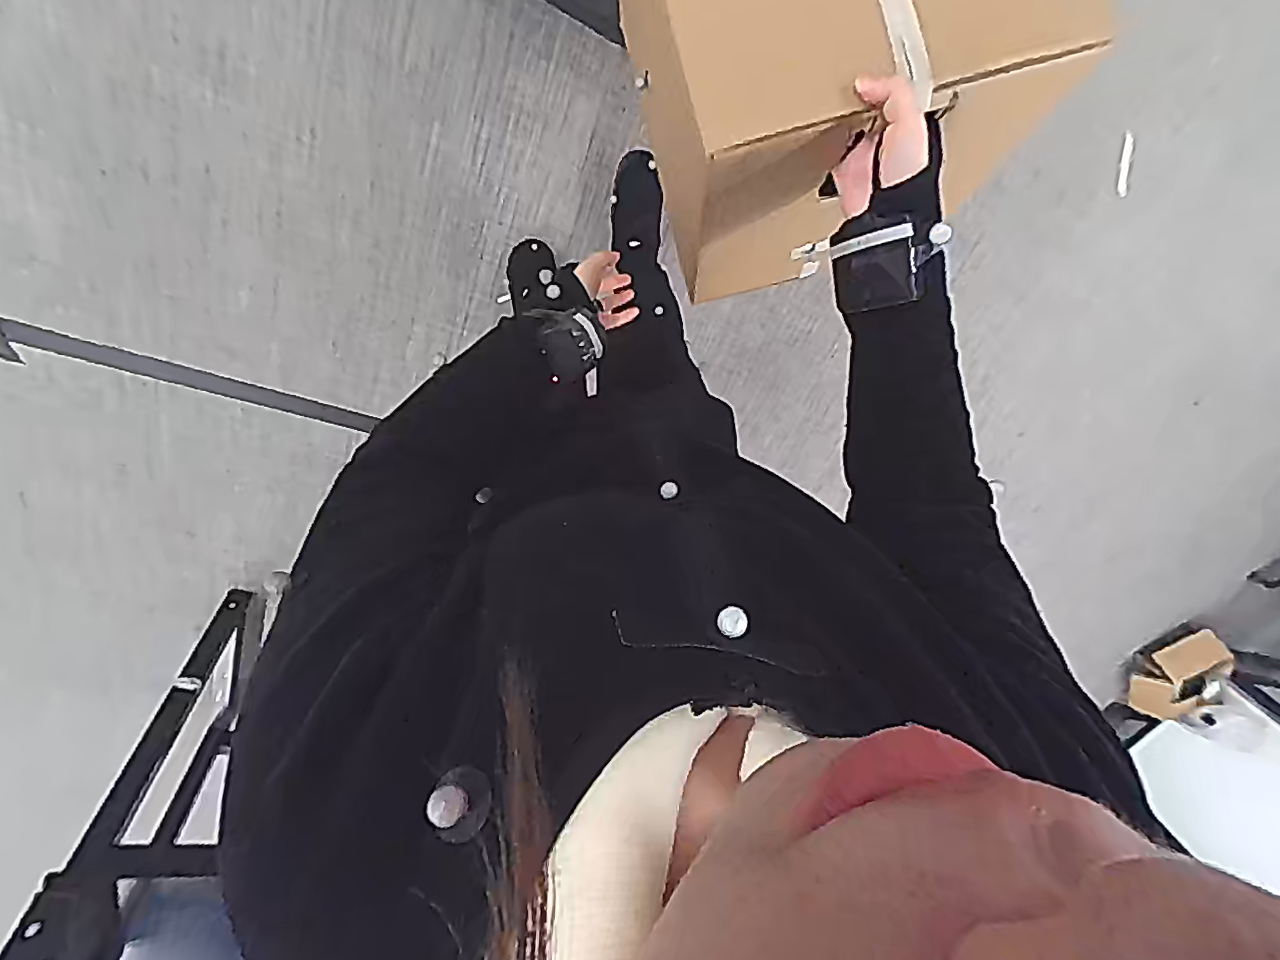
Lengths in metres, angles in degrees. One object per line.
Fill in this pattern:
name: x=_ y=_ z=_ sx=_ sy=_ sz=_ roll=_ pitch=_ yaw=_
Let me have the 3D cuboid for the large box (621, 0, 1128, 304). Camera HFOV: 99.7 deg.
large box: x=0.163 y=-0.460 z=0.555 sx=0.320 sy=0.320 sz=0.408 roll=-15 pitch=86 yaw=3
